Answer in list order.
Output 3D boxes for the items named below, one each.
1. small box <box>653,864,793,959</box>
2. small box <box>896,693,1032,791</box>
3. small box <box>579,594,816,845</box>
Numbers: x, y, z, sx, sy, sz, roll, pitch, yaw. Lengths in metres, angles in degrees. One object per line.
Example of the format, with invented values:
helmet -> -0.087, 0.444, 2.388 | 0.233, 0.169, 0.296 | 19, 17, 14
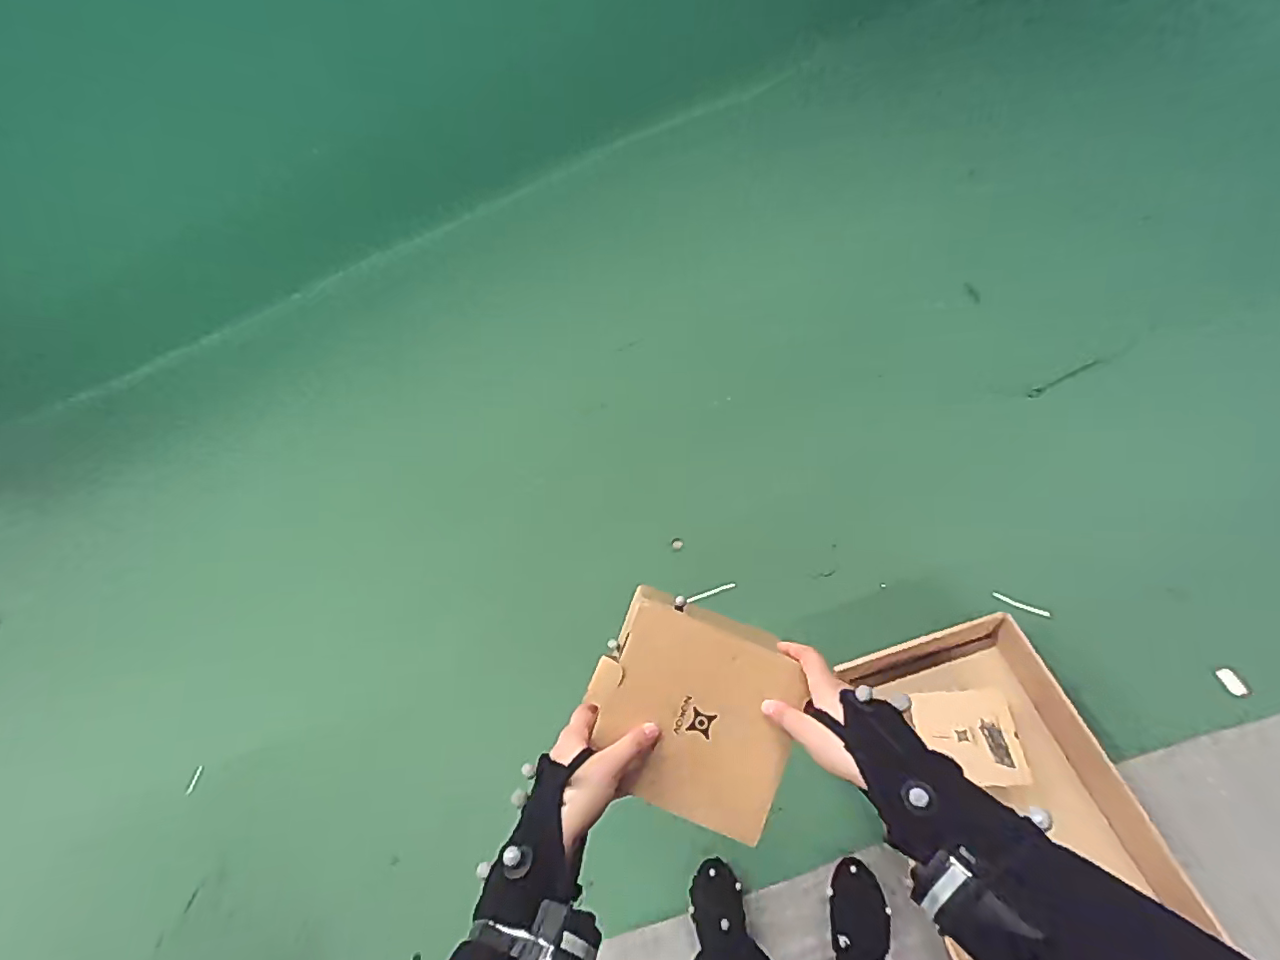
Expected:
small box -> 0.164, 0.884, 1.036 | 0.176, 0.168, 0.179 | 47, 47, 10
small box -> 0.635, 0.527, 1.084 | 0.179, 0.176, 0.168 | -8, 59, 13
small box -> 0.053, 0.227, 0.566 | 0.179, 0.176, 0.168 | 19, 84, 2
